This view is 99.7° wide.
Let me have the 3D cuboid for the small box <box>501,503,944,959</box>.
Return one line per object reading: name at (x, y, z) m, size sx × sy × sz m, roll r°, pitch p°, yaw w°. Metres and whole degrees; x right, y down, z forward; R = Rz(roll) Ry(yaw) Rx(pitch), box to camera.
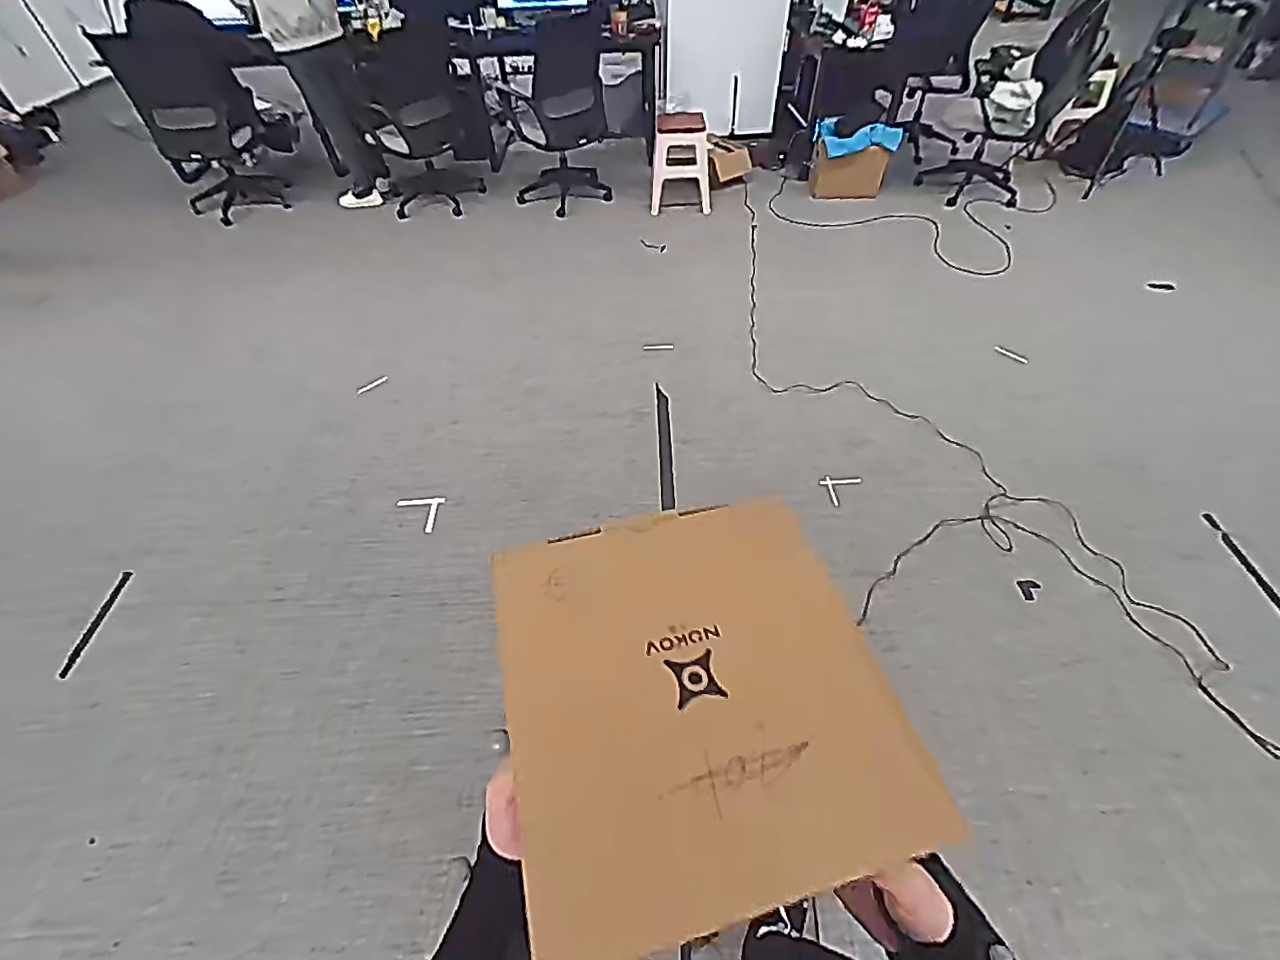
small box at (0.021, 0.143, 0.314) m, size 0.168 × 0.176 × 0.179 m, roll -12°, pitch 50°, yaw -10°
